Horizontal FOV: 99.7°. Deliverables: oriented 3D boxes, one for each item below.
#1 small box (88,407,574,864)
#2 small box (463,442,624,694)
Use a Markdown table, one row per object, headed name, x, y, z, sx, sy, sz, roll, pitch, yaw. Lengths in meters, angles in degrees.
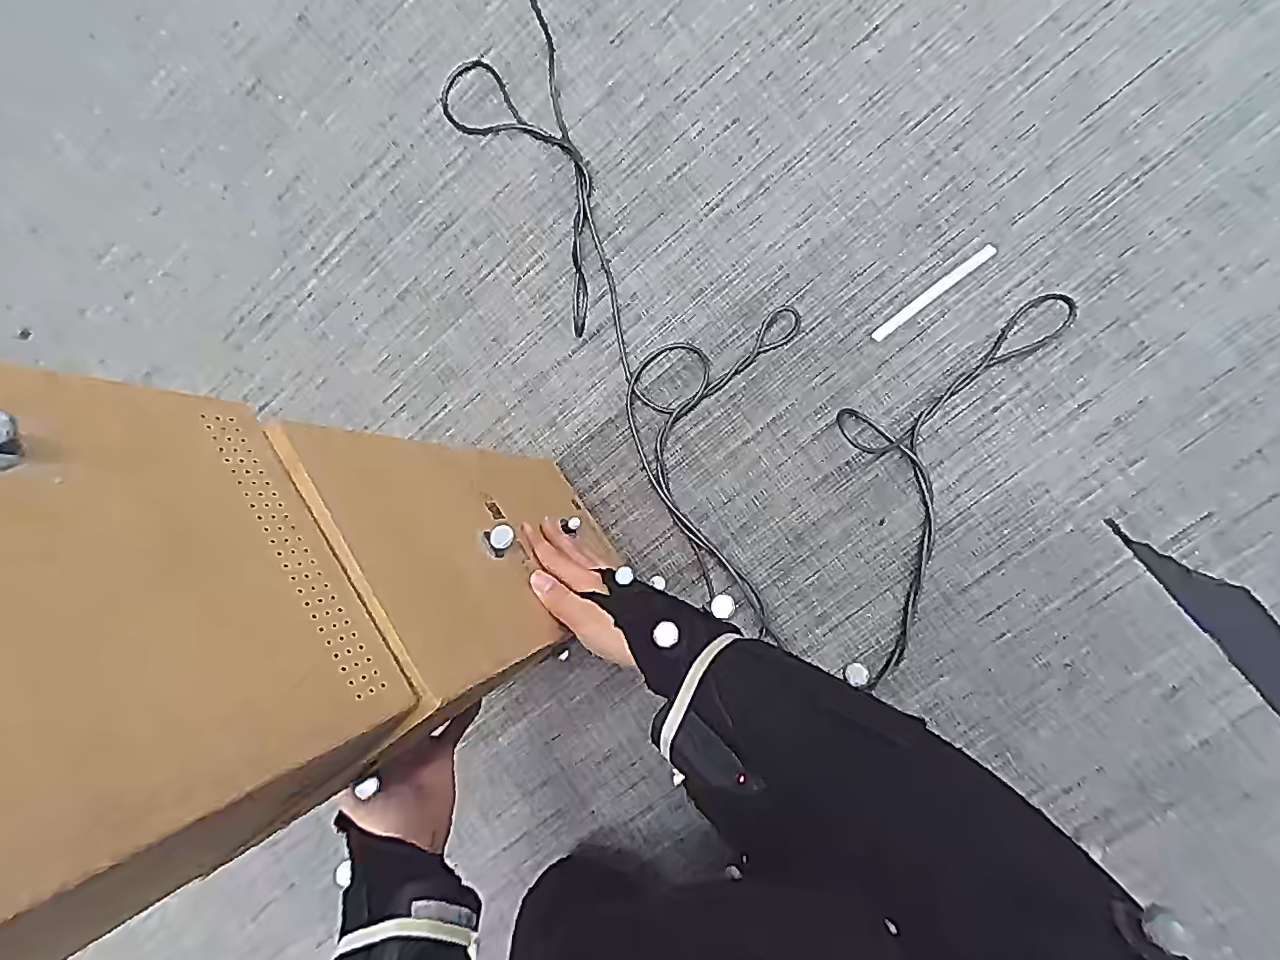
| name | x | y | z | sx | sy | sz | roll | pitch | yaw |
| --- | --- | --- | --- | --- | --- | --- | --- | --- | --- |
| small box | -0.173 | 0.082 | 0.345 | 0.179 | 0.176 | 0.168 | -37 | 79 | 11 |
| small box | -0.132 | 0.086 | 0.503 | 0.179 | 0.176 | 0.168 | -38 | 78 | 12 |
